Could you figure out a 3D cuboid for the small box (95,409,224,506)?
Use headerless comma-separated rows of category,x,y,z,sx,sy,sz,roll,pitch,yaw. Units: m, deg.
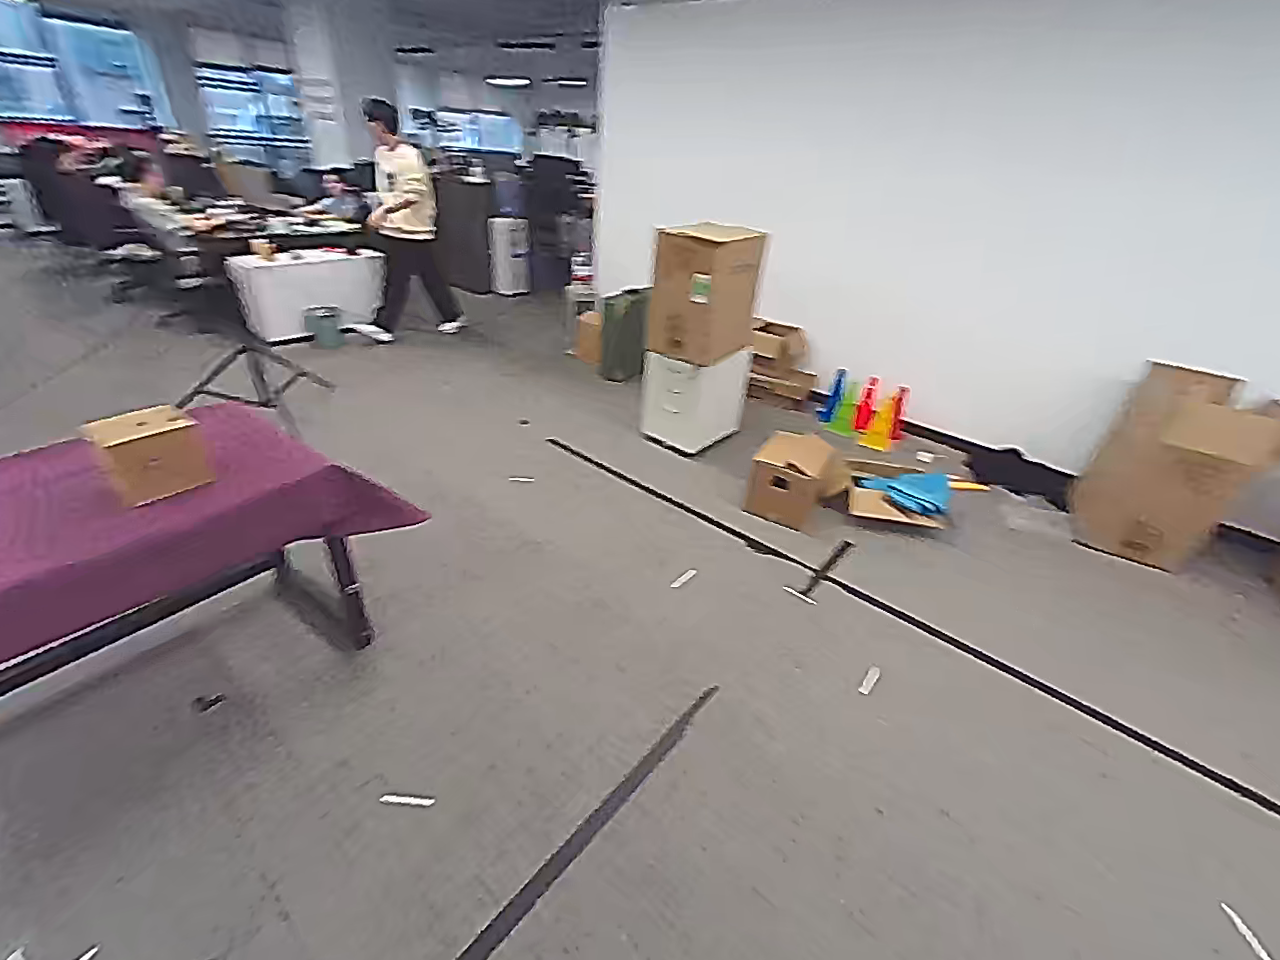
small box,-1.208,-0.057,1.369,0.168,0.176,0.179,23,37,28
